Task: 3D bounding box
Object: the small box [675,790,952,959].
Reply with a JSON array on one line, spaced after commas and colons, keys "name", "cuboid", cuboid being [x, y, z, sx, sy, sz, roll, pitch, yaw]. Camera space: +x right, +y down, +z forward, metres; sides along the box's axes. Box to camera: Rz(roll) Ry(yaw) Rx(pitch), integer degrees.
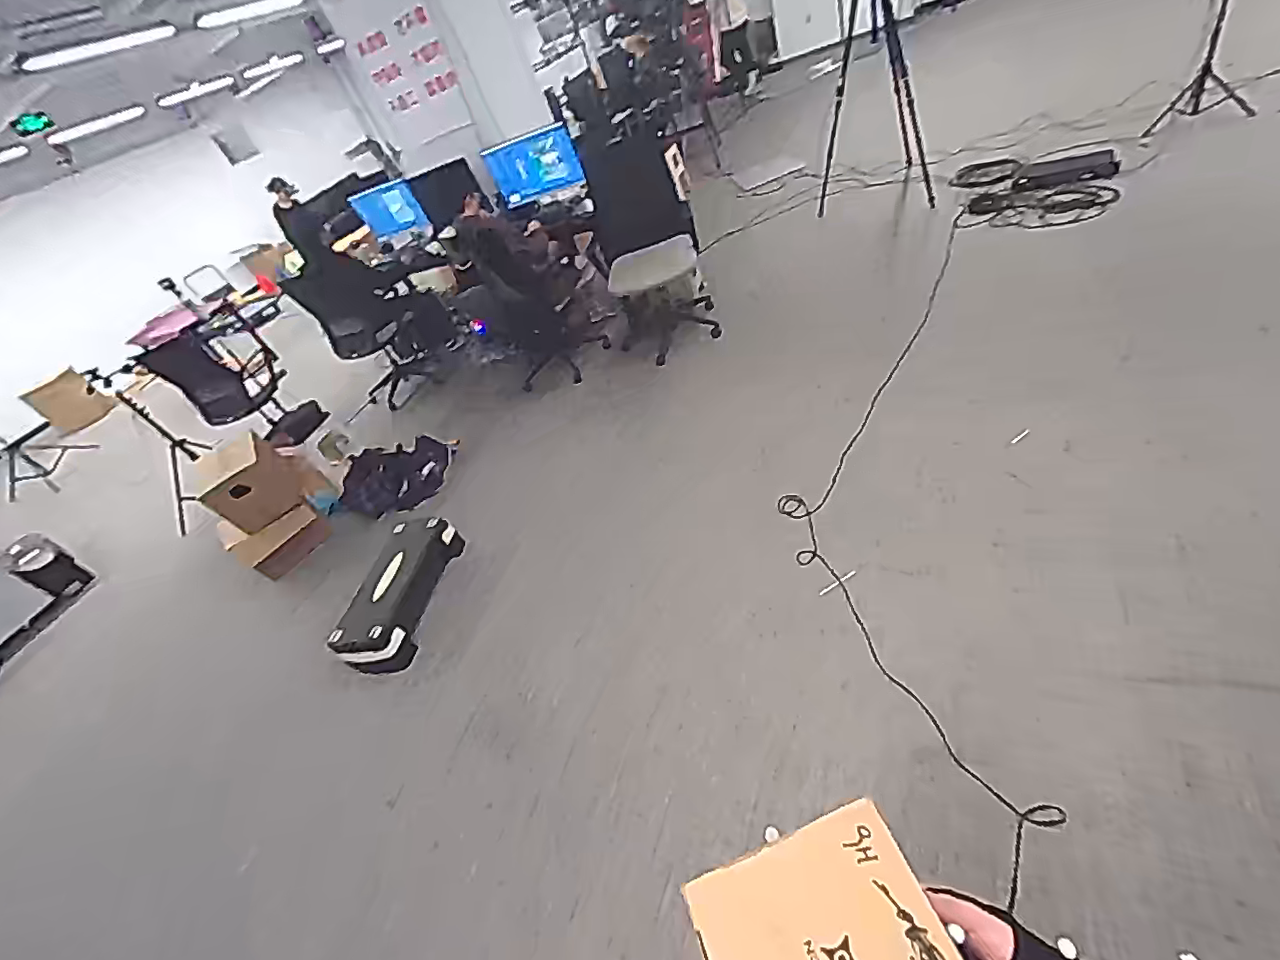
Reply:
[{"name": "small box", "cuboid": [0.152, 0.396, 0.465, 0.179, 0.176, 0.168, -24, 53, -1]}]
